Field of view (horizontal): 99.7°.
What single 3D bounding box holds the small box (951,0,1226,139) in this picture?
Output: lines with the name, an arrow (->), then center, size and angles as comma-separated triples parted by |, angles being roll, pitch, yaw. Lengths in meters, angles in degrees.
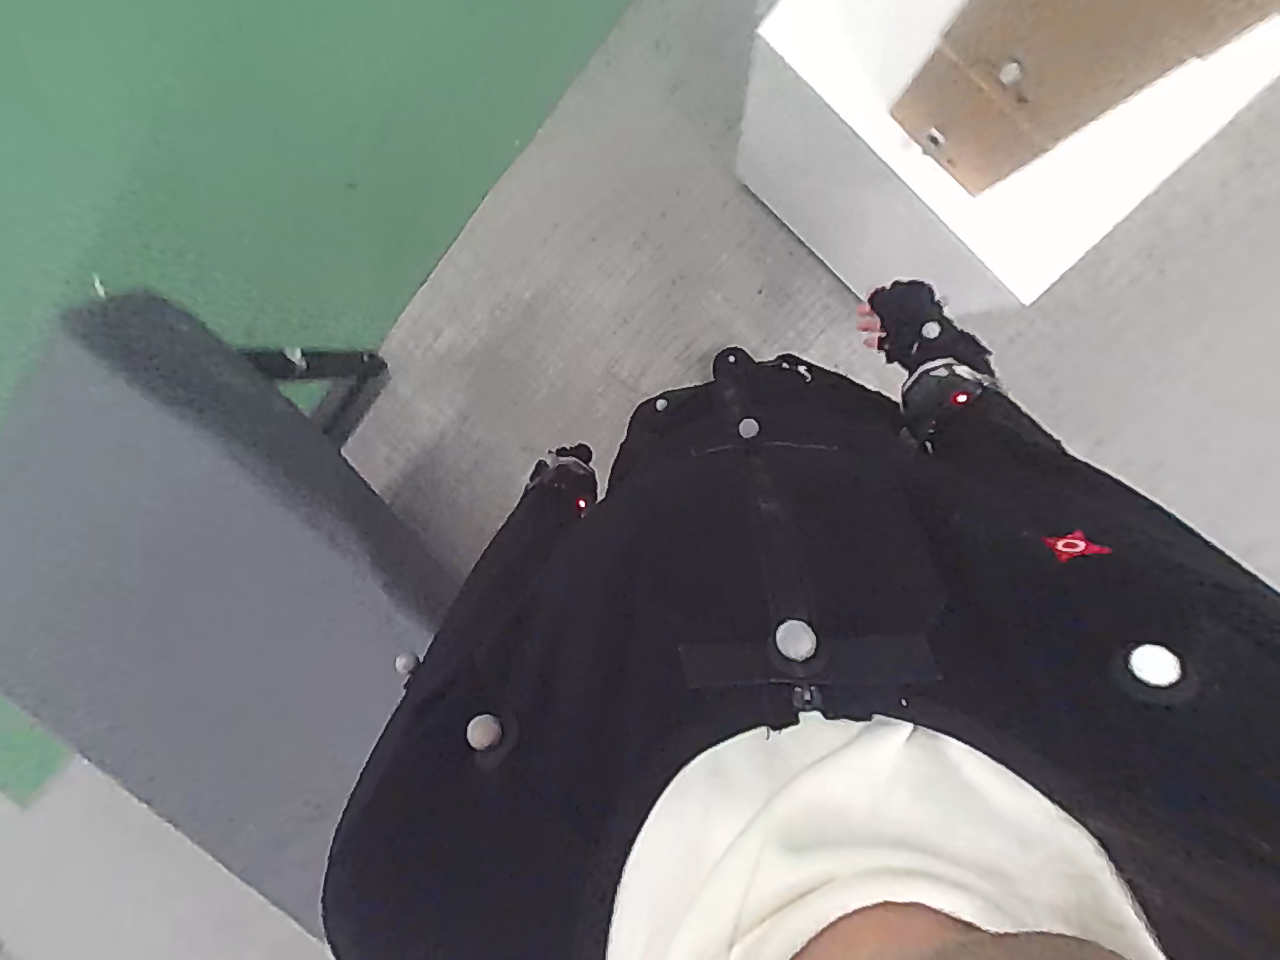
small box -> 0.402, -0.432, 0.438 | 0.168, 0.176, 0.179 | 39, 103, -2

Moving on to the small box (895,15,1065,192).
small box -> 0.422, -0.463, 0.597 | 0.168, 0.176, 0.179 | 41, 105, -2
